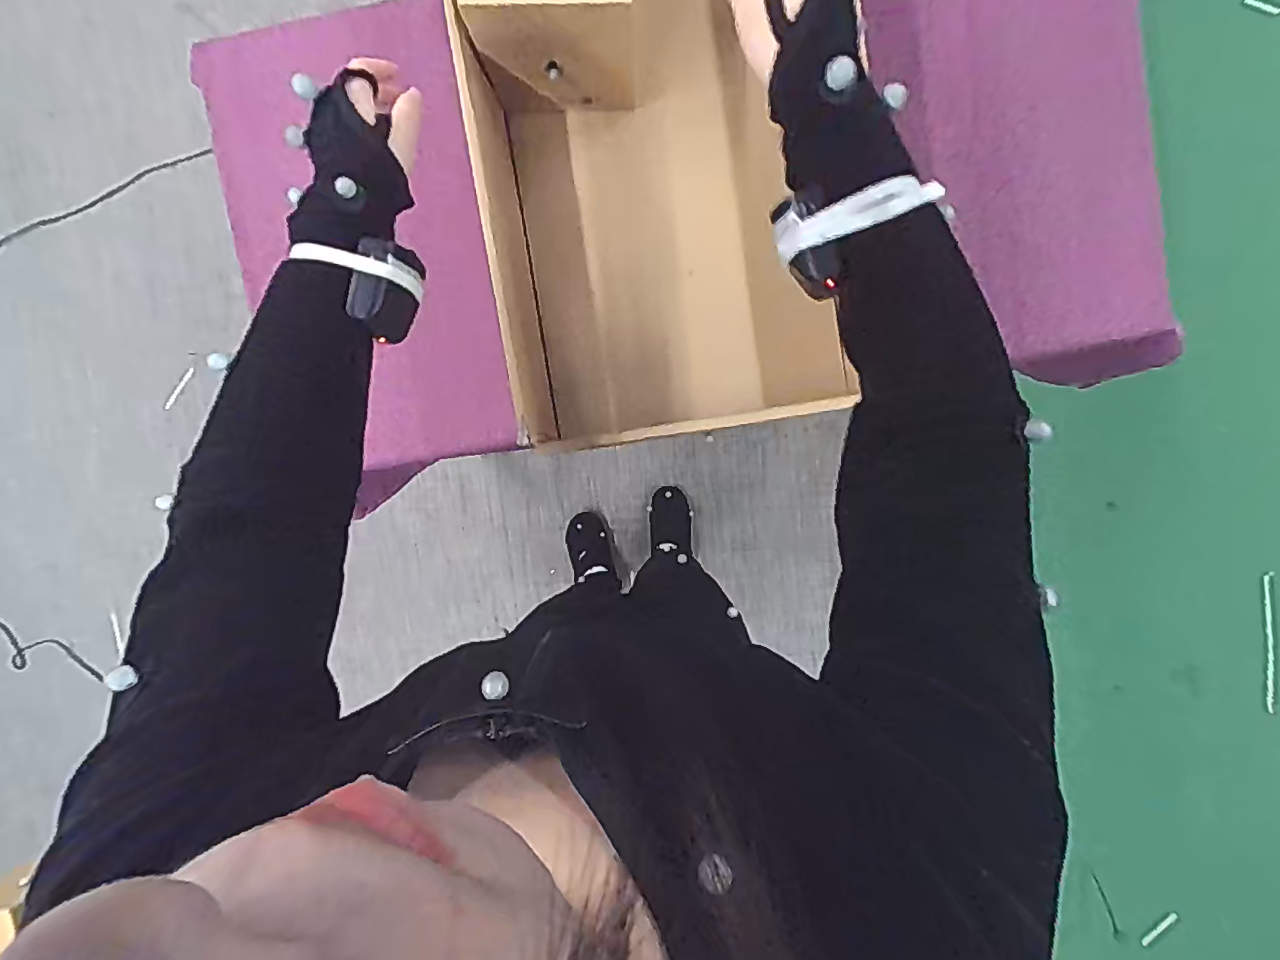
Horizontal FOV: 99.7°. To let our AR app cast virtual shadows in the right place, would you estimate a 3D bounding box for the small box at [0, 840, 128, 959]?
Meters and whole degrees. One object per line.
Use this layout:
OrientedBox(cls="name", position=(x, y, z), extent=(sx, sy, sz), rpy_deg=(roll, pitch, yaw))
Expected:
OrientedBox(cls="small box", position=(-1.348, 0.963, 1.244), extent=(0.168, 0.176, 0.179), rpy_deg=(-9, 95, 5))
